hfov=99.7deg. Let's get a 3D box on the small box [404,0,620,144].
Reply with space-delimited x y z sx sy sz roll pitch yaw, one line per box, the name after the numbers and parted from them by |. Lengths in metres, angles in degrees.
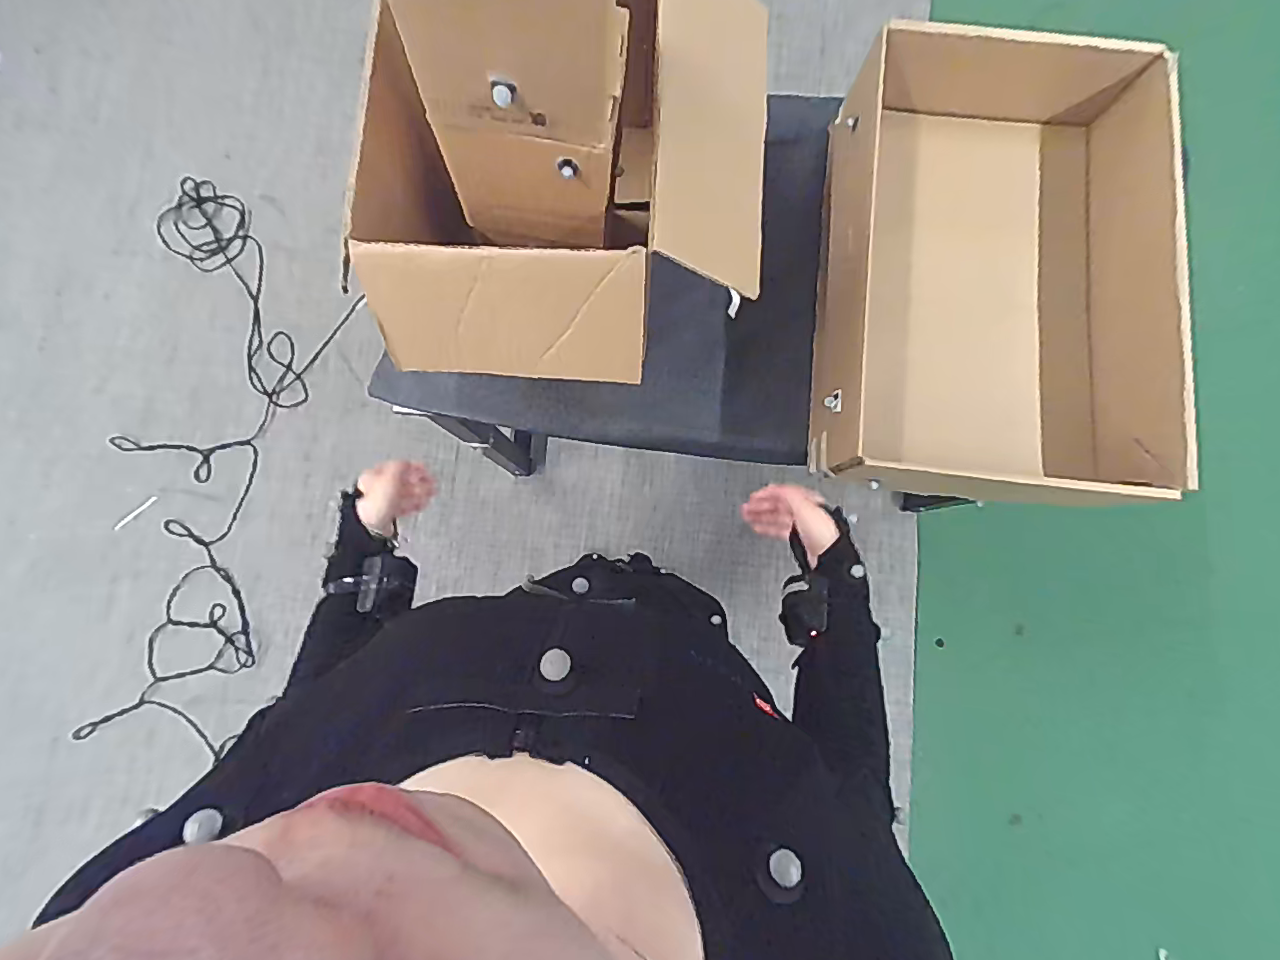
-0.099 -0.426 0.447 0.168 0.176 0.179 4 81 -5 | small box
